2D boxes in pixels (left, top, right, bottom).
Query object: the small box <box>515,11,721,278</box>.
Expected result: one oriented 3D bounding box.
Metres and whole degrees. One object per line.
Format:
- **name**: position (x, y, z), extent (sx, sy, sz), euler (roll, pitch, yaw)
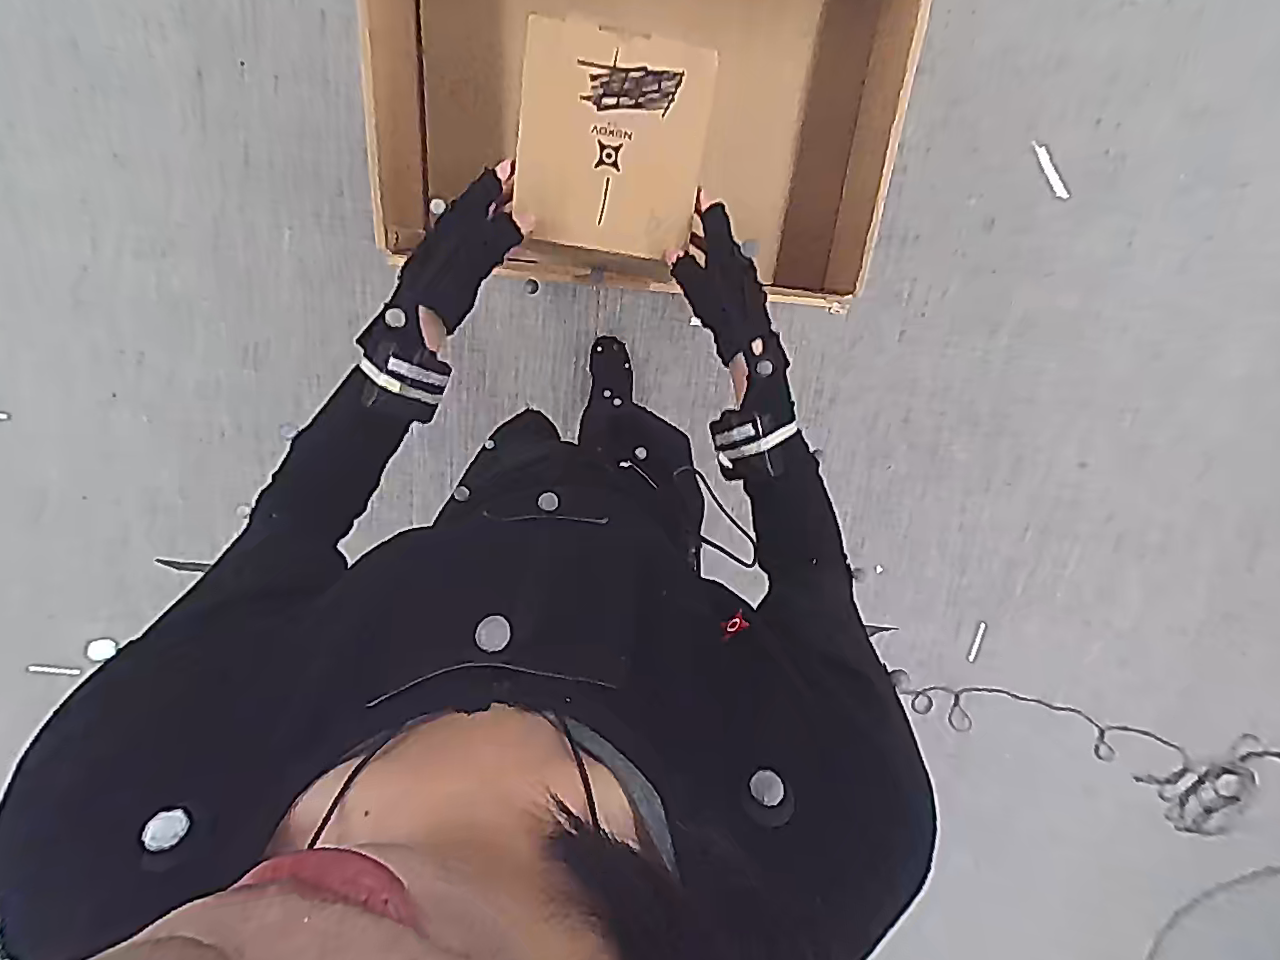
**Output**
- **small box**: position (-0.025, -0.319, 0.556), extent (0.168, 0.176, 0.179), euler (7, 104, -3)
